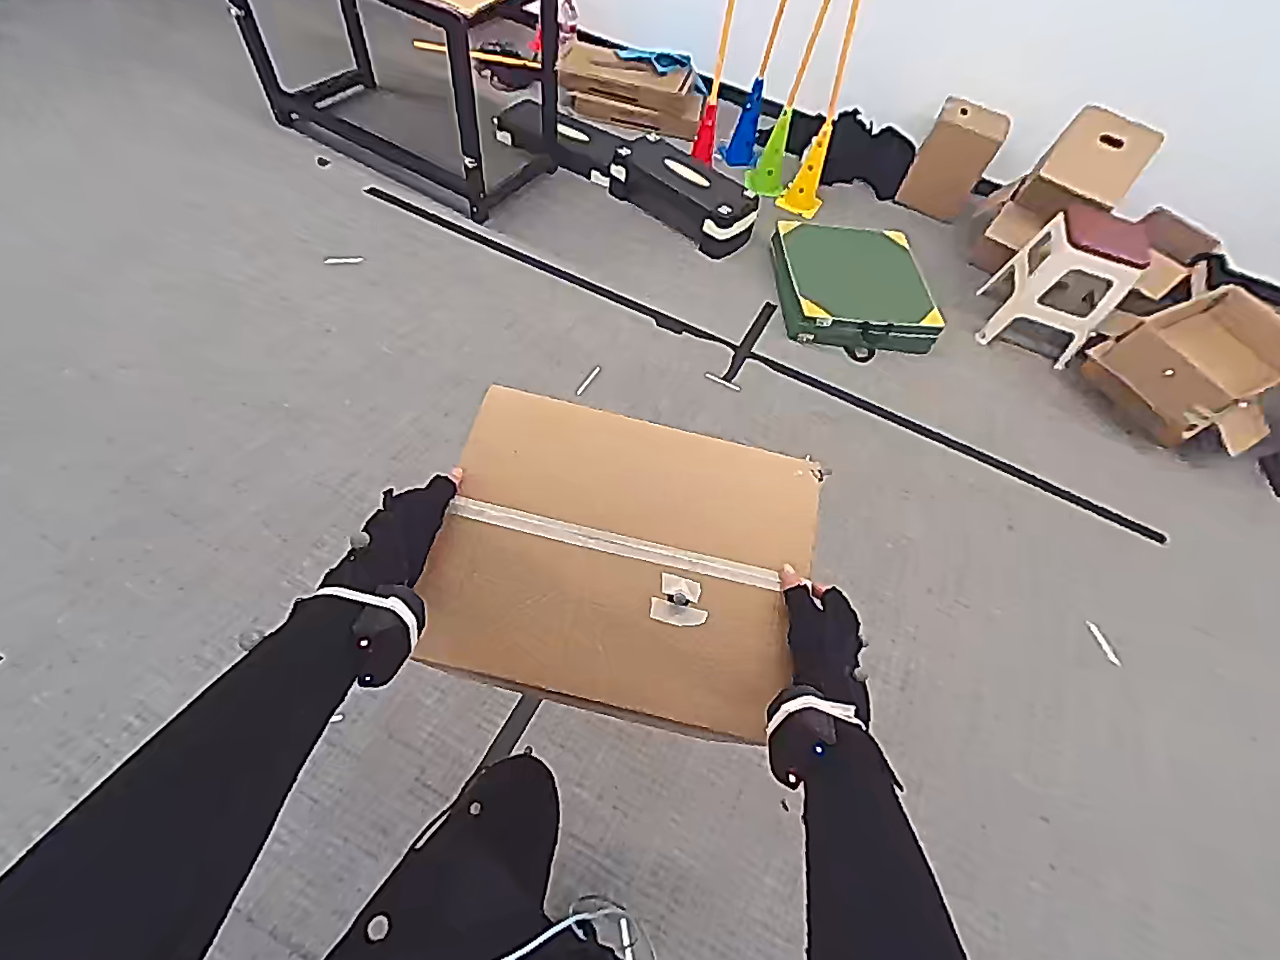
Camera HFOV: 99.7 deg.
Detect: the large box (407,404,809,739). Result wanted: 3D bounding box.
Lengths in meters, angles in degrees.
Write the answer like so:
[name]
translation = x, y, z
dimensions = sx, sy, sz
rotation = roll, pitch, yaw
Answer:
[large box]
translation = -0.031, 0.144, 0.736
dimensions = 0.408, 0.320, 0.320
rotation = 14, 66, -1
